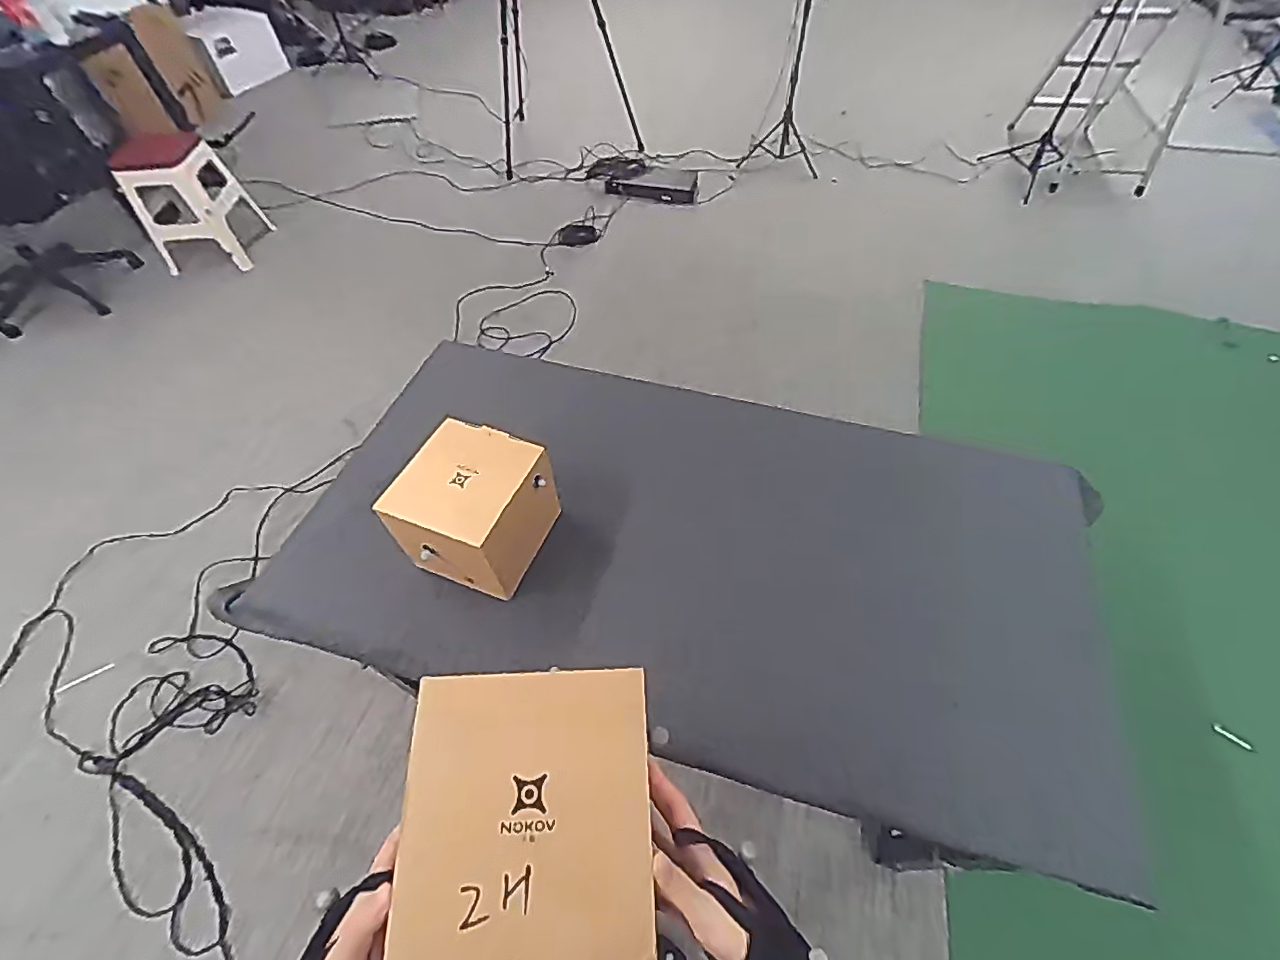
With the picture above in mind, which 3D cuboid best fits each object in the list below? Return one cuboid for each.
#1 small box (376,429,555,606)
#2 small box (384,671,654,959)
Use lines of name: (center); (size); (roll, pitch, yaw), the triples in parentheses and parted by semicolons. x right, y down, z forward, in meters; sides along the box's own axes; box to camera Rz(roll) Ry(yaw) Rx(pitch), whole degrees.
small box: (-0.238, 0.059, 0.796); (0.168, 0.176, 0.179); (17, 54, 13)
small box: (-0.076, 0.259, 0.436); (0.168, 0.176, 0.179); (-1, 62, -2)
